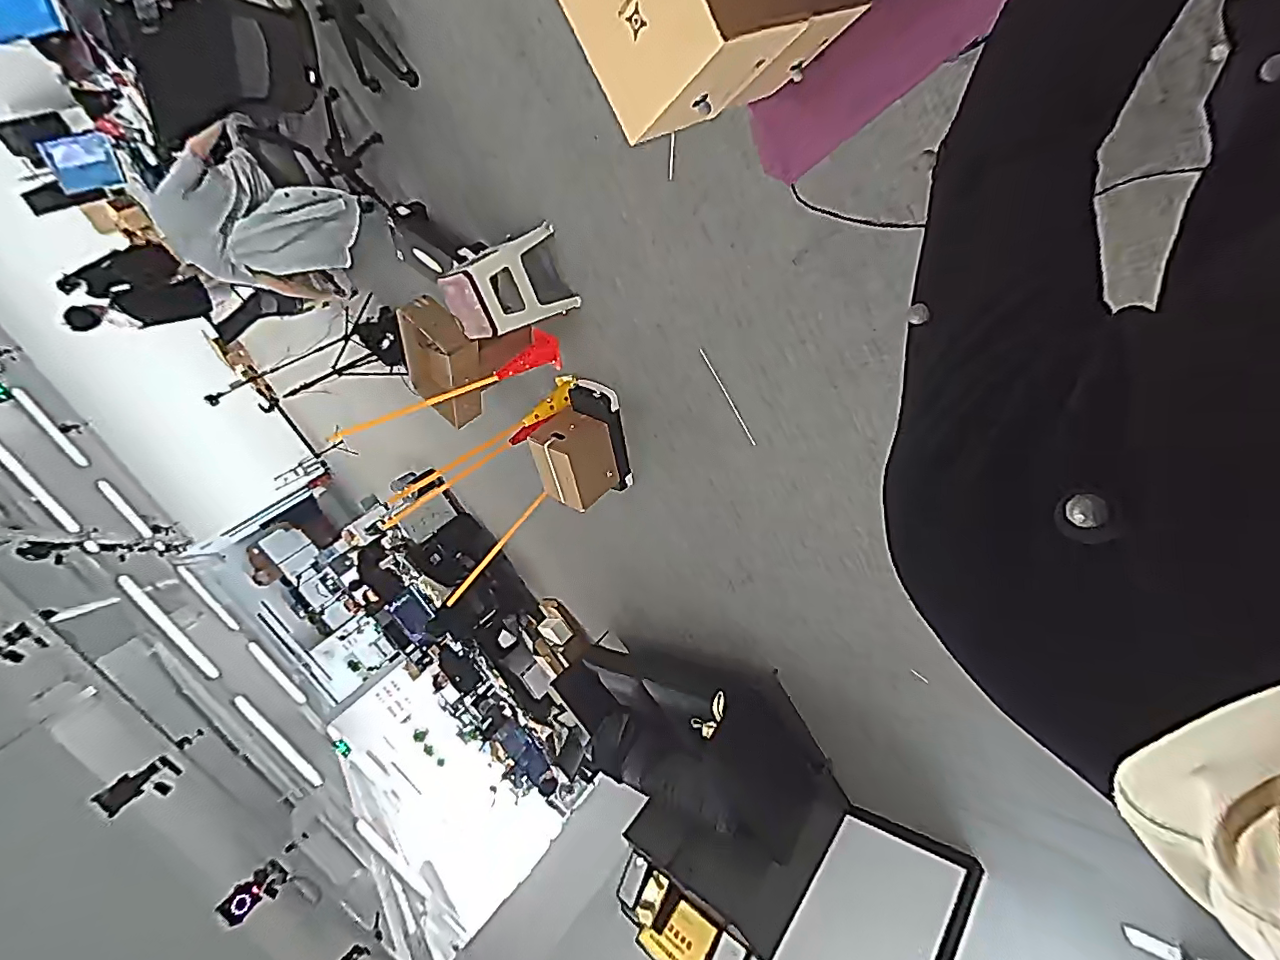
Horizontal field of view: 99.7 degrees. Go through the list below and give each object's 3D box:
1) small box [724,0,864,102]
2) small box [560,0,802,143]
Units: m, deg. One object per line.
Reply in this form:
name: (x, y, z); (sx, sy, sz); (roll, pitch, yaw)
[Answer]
small box: (0.148, -0.620, 0.686); (0.168, 0.176, 0.179); (-10, 115, 56)
small box: (0.048, -0.525, 0.601); (0.168, 0.176, 0.179); (-9, 115, 56)
